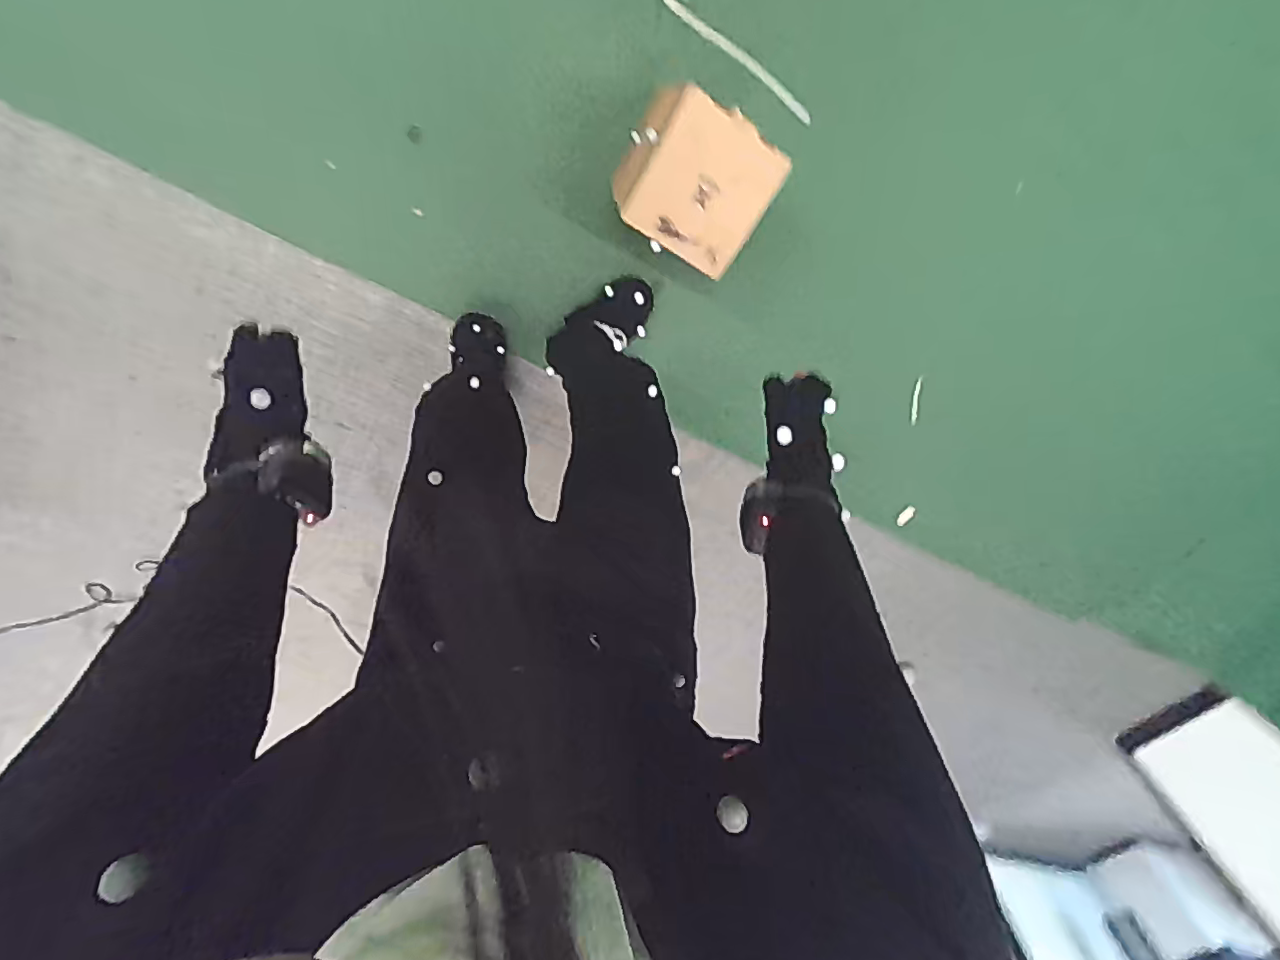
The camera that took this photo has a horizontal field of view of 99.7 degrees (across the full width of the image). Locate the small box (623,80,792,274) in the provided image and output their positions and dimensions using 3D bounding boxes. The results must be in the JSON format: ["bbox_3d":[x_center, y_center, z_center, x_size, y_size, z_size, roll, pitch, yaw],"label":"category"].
[{"bbox_3d":[0.082,-0.438,0.785,0.168,0.176,0.179,25,119,-21],"label":"small box"}]

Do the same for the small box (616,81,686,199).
[{"bbox_3d":[0.067,-0.523,0.901,0.168,0.176,0.179,26,120,-20],"label":"small box"}]
